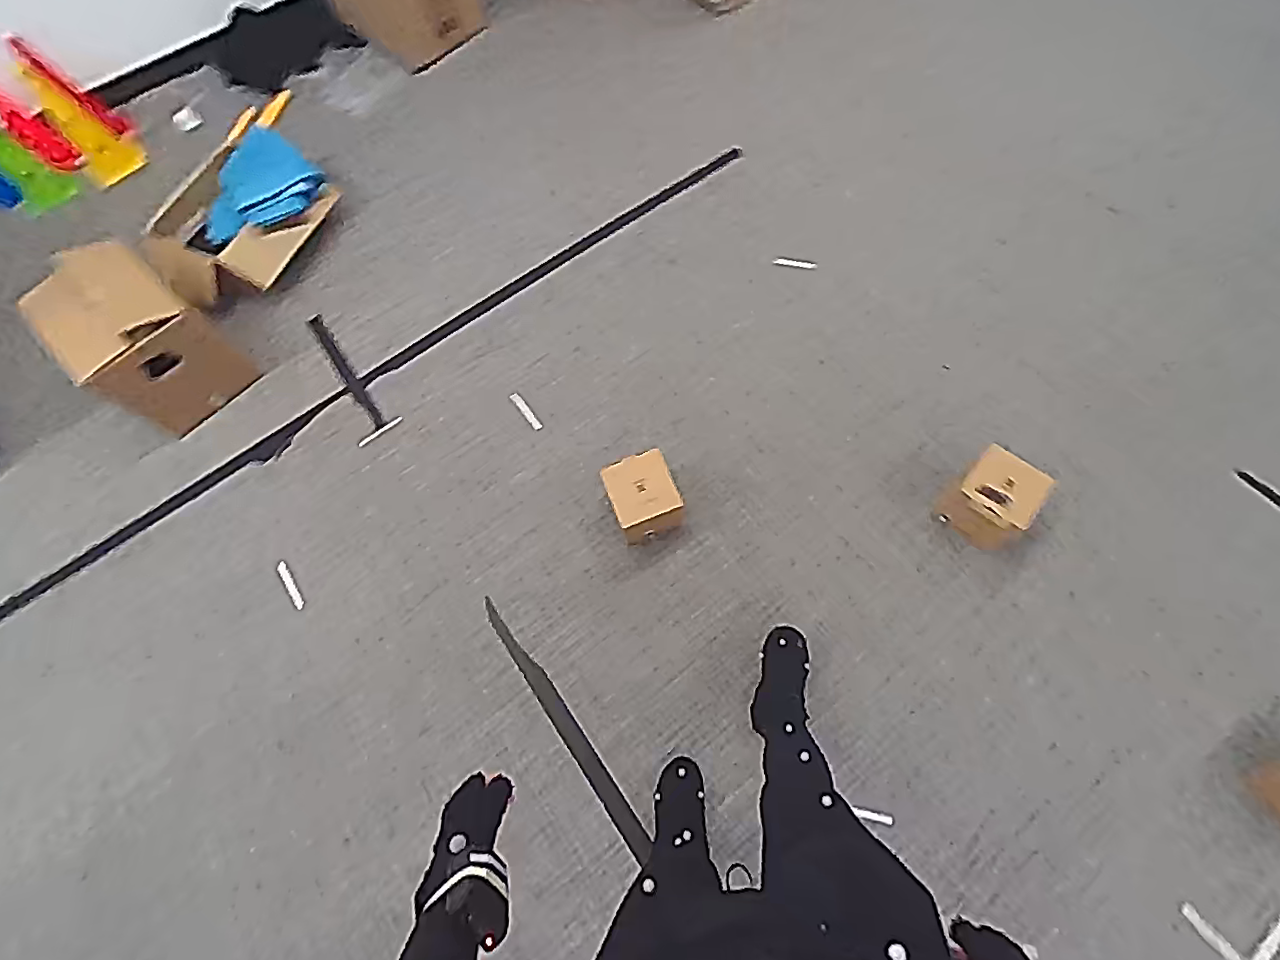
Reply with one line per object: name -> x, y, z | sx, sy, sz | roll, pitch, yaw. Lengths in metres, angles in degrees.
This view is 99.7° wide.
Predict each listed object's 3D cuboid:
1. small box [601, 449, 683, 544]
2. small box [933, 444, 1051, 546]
small box -> 0.006, 0.049, 1.441 | 0.168, 0.176, 0.179 | -22, 70, -5
small box -> 0.896, 0.046, 1.398 | 0.168, 0.176, 0.179 | 38, 74, 16
